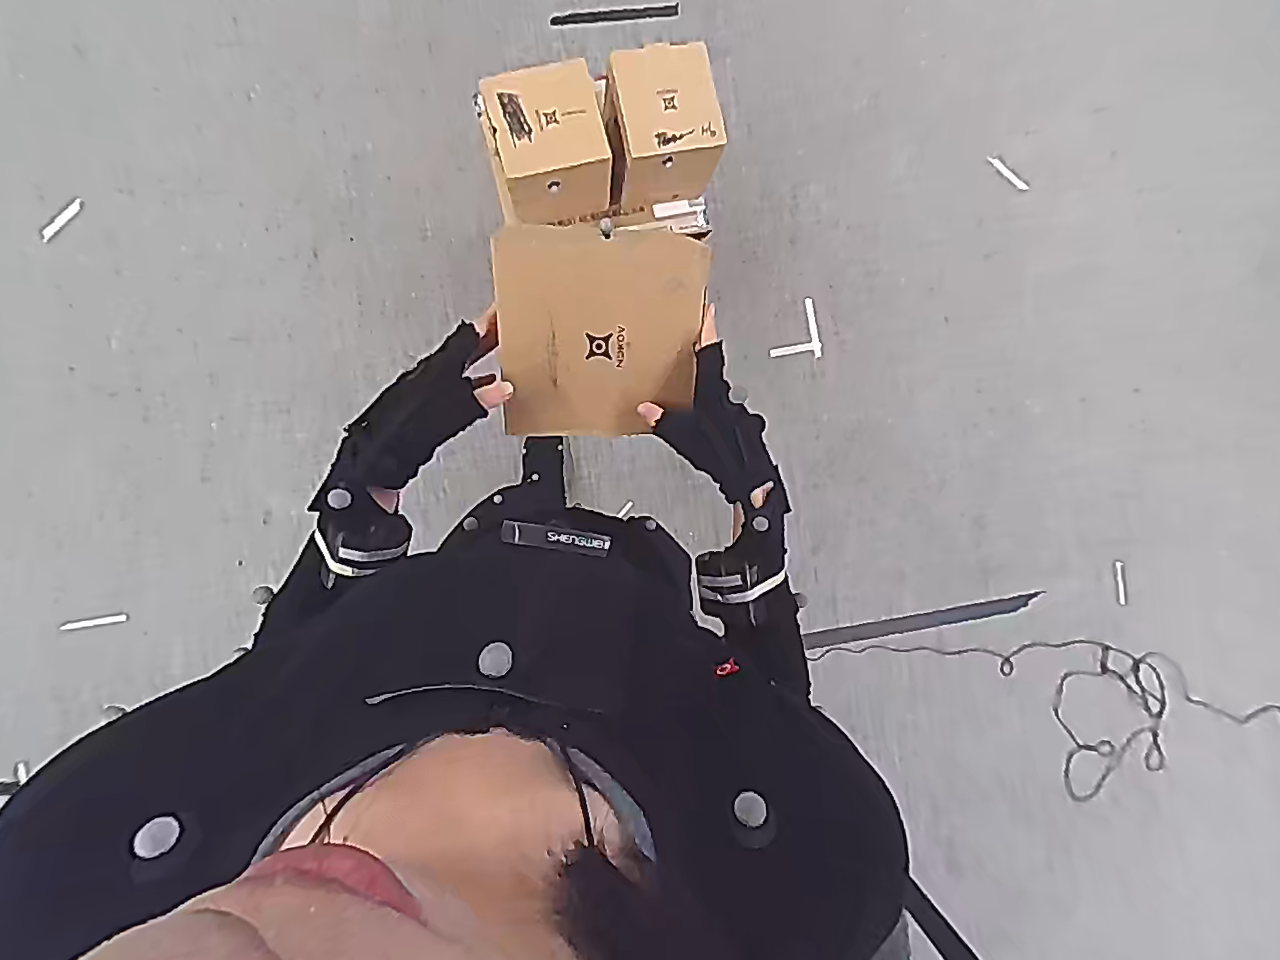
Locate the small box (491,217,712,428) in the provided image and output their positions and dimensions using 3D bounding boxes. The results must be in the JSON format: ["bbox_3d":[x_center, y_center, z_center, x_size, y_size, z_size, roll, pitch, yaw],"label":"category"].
[{"bbox_3d":[-0.044,-0.158,0.524,0.179,0.176,0.168,-1,118,-9],"label":"small box"}]

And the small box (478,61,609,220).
[{"bbox_3d":[-0.157,-0.564,0.931,0.179,0.176,0.168,-16,91,-5],"label":"small box"}]

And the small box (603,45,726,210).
[{"bbox_3d":[0.034,-0.612,0.954,0.168,0.176,0.179,-13,90,-8],"label":"small box"}]
